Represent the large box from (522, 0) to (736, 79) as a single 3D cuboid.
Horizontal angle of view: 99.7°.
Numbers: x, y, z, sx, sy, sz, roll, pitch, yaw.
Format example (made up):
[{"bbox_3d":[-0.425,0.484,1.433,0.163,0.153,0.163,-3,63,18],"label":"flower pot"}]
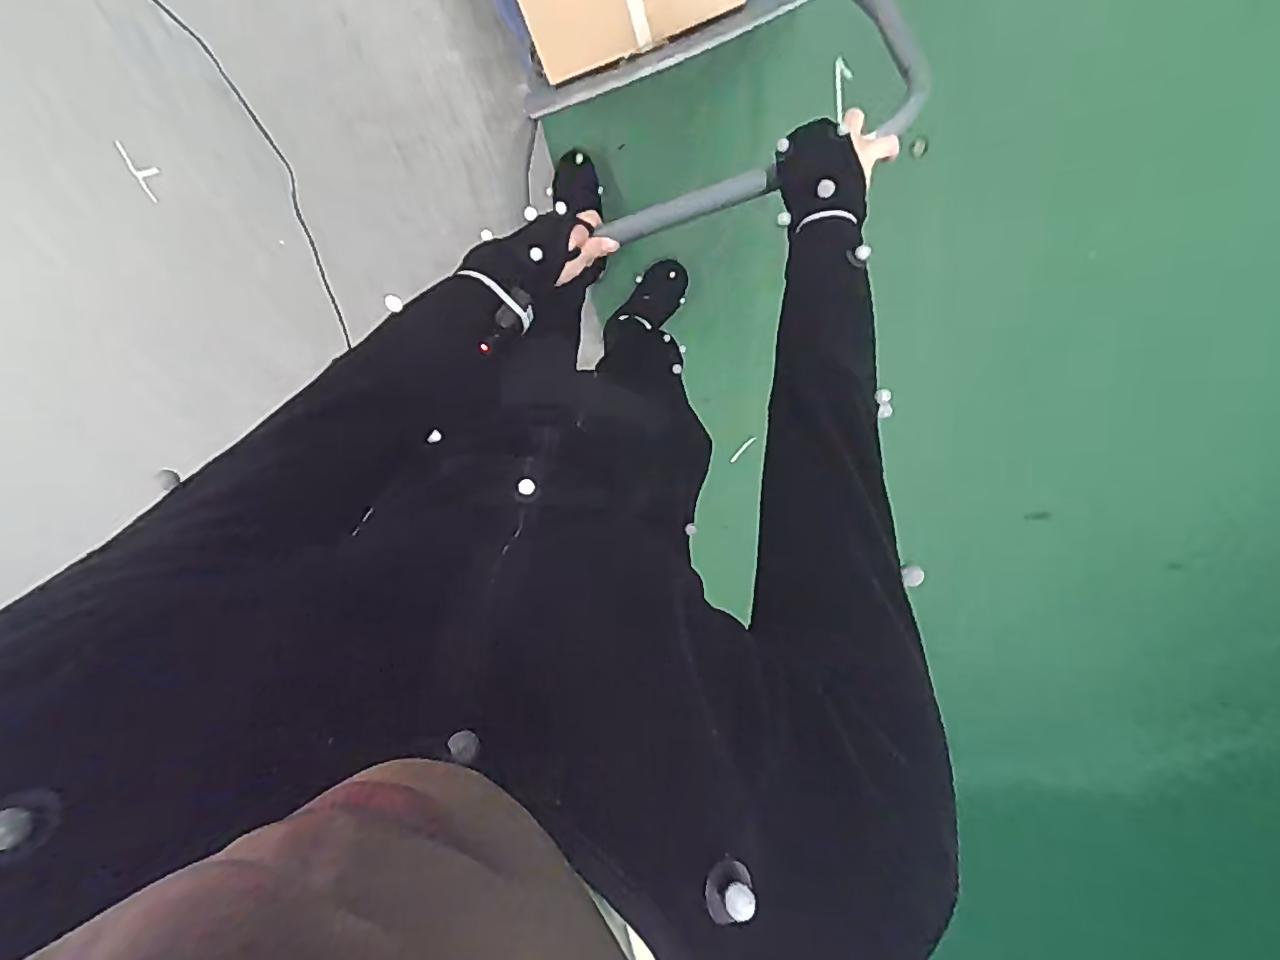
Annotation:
[{"bbox_3d":[-0.054,-0.898,0.776,0.320,0.320,0.408,-13,137,14],"label":"large box"}]
